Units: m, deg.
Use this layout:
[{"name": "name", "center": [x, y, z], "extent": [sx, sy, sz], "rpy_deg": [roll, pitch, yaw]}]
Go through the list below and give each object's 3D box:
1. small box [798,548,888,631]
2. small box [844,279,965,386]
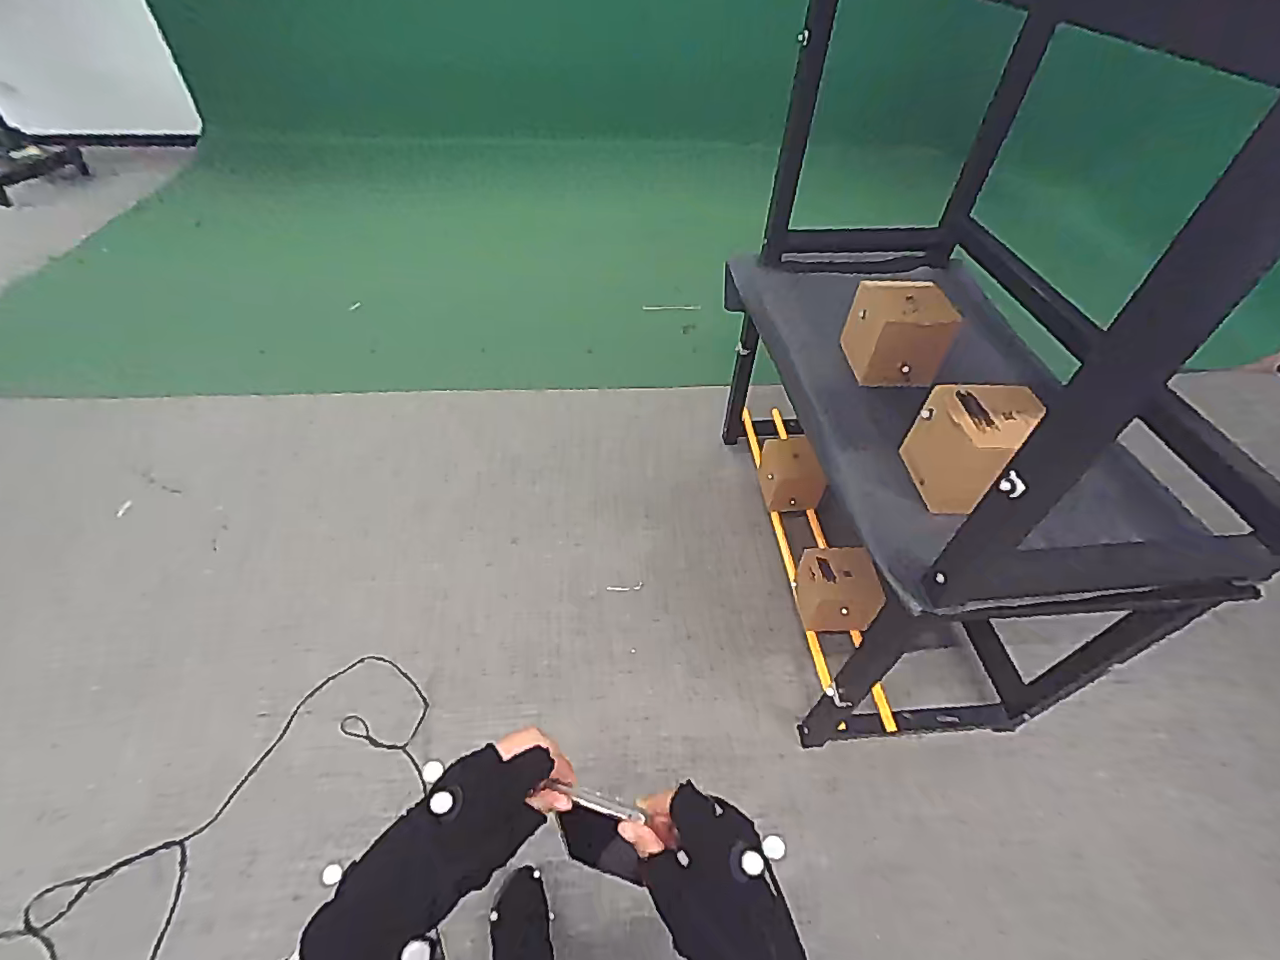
[{"name": "small box", "center": [0.542, 0.302, 1.481], "extent": [0.179, 0.176, 0.168], "rpy_deg": [0, 48, -1]}, {"name": "small box", "center": [0.581, -0.332, 1.217], "extent": [0.168, 0.176, 0.179], "rpy_deg": [0, 47, -2]}]
